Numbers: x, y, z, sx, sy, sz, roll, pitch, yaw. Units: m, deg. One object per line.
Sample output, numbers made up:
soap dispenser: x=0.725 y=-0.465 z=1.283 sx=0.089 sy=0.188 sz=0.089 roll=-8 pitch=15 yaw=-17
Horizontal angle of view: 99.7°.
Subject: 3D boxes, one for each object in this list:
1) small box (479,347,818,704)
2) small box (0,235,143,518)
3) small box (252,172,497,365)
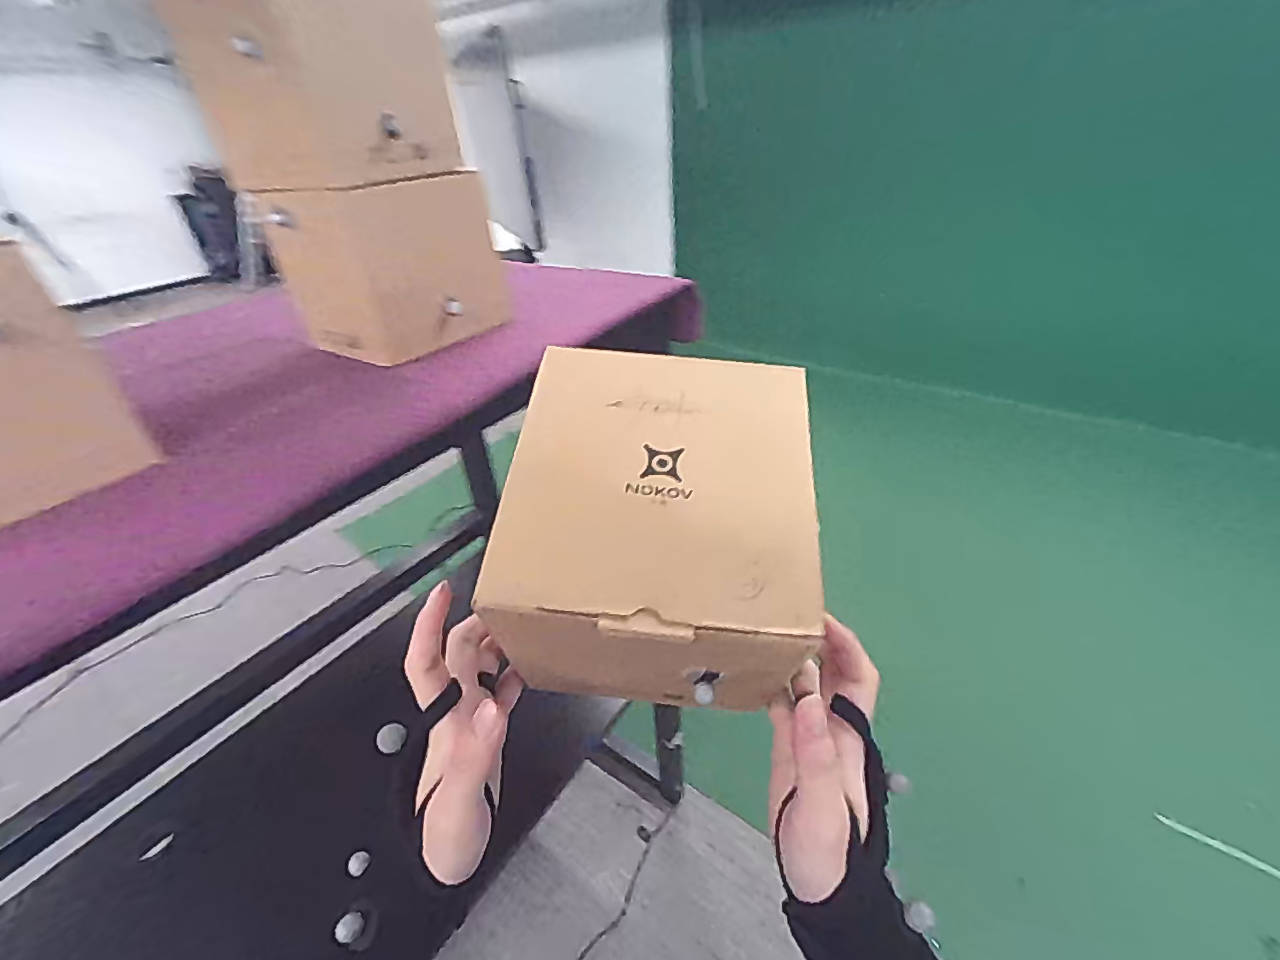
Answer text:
small box: x=0.014 y=0.038 z=0.364 sx=0.168 sy=0.176 sz=0.179 roll=7 pitch=56 yaw=4
small box: x=-0.498 y=-0.066 z=0.372 sx=0.168 sy=0.176 sz=0.179 roll=18 pitch=40 yaw=31
small box: x=-0.284 y=-0.247 z=0.618 sx=0.168 sy=0.176 sz=0.179 roll=17 pitch=39 yaw=31
